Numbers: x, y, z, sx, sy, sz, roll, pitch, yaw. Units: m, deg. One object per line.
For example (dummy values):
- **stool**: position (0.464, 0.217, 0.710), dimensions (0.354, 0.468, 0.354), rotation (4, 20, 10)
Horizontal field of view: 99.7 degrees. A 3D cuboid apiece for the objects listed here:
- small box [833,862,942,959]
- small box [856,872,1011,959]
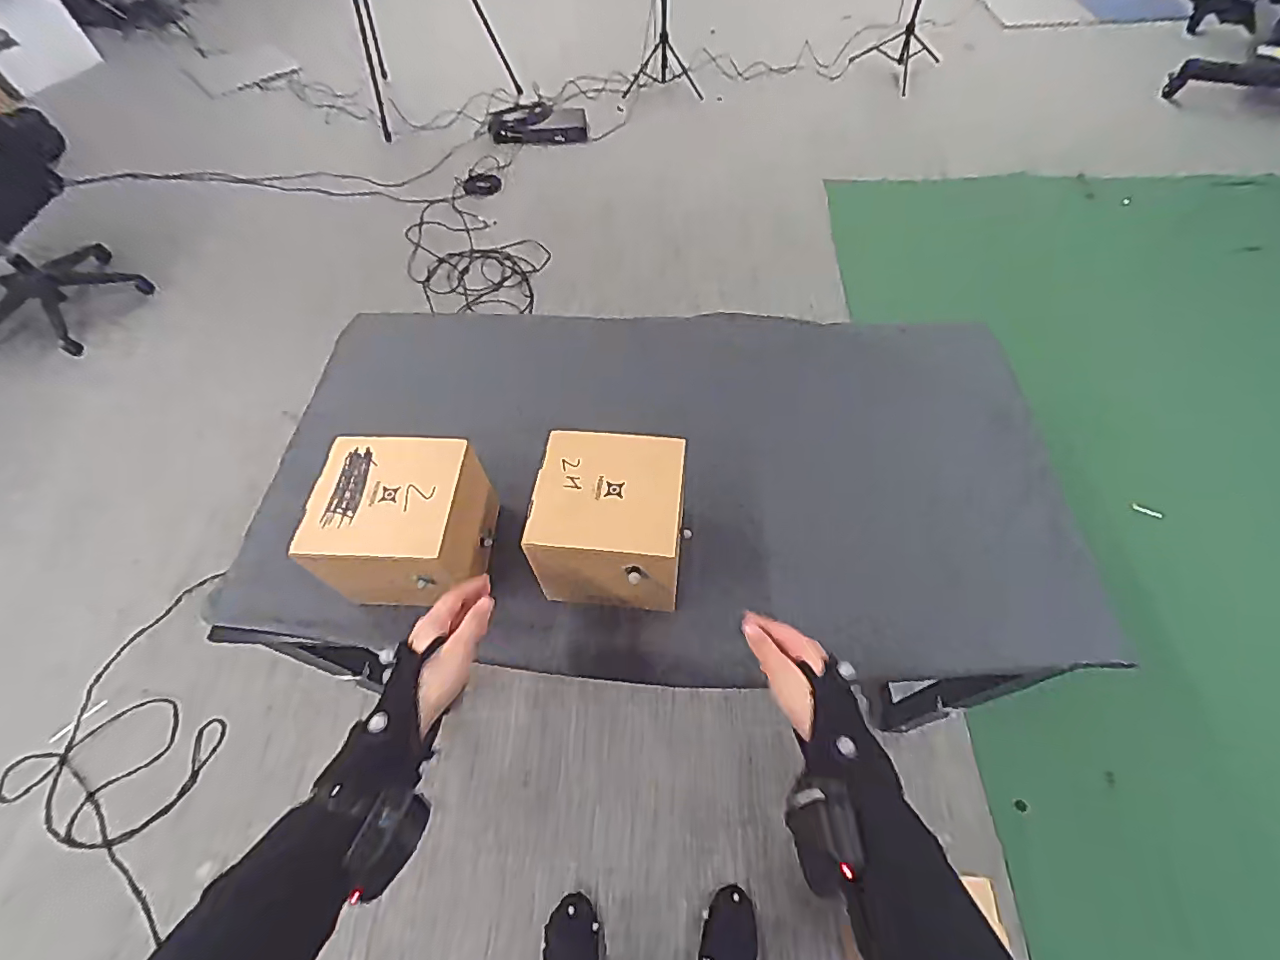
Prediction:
- **small box**: position (0.486, 0.850, 1.041), dimensions (0.168, 0.176, 0.179), rotation (-1, 57, 2)
- **small box**: position (0.483, 0.764, 0.900), dimensions (0.179, 0.176, 0.168), rotation (1, 59, 3)
